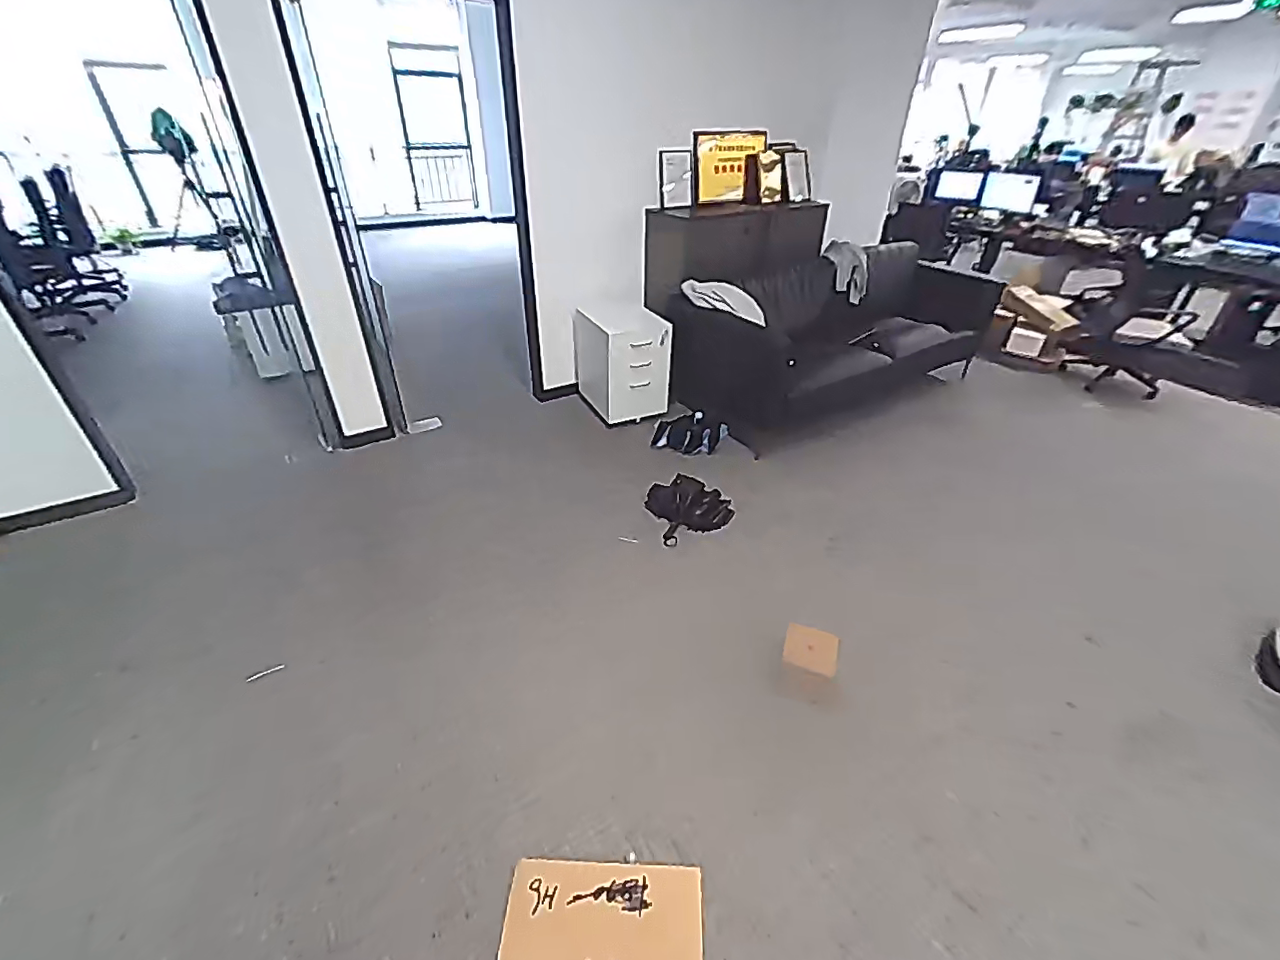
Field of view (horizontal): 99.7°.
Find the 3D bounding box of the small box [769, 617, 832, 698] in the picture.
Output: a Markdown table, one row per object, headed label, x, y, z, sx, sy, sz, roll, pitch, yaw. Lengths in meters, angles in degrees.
| label | x | y | z | sx | sy | sz | roll | pitch | yaw |
| --- | --- | --- | --- | --- | --- | --- | --- | --- | --- |
| small box | 0.541 | 0.603 | 1.831 | 0.168 | 0.176 | 0.179 | 14 | 35 | 15 |
